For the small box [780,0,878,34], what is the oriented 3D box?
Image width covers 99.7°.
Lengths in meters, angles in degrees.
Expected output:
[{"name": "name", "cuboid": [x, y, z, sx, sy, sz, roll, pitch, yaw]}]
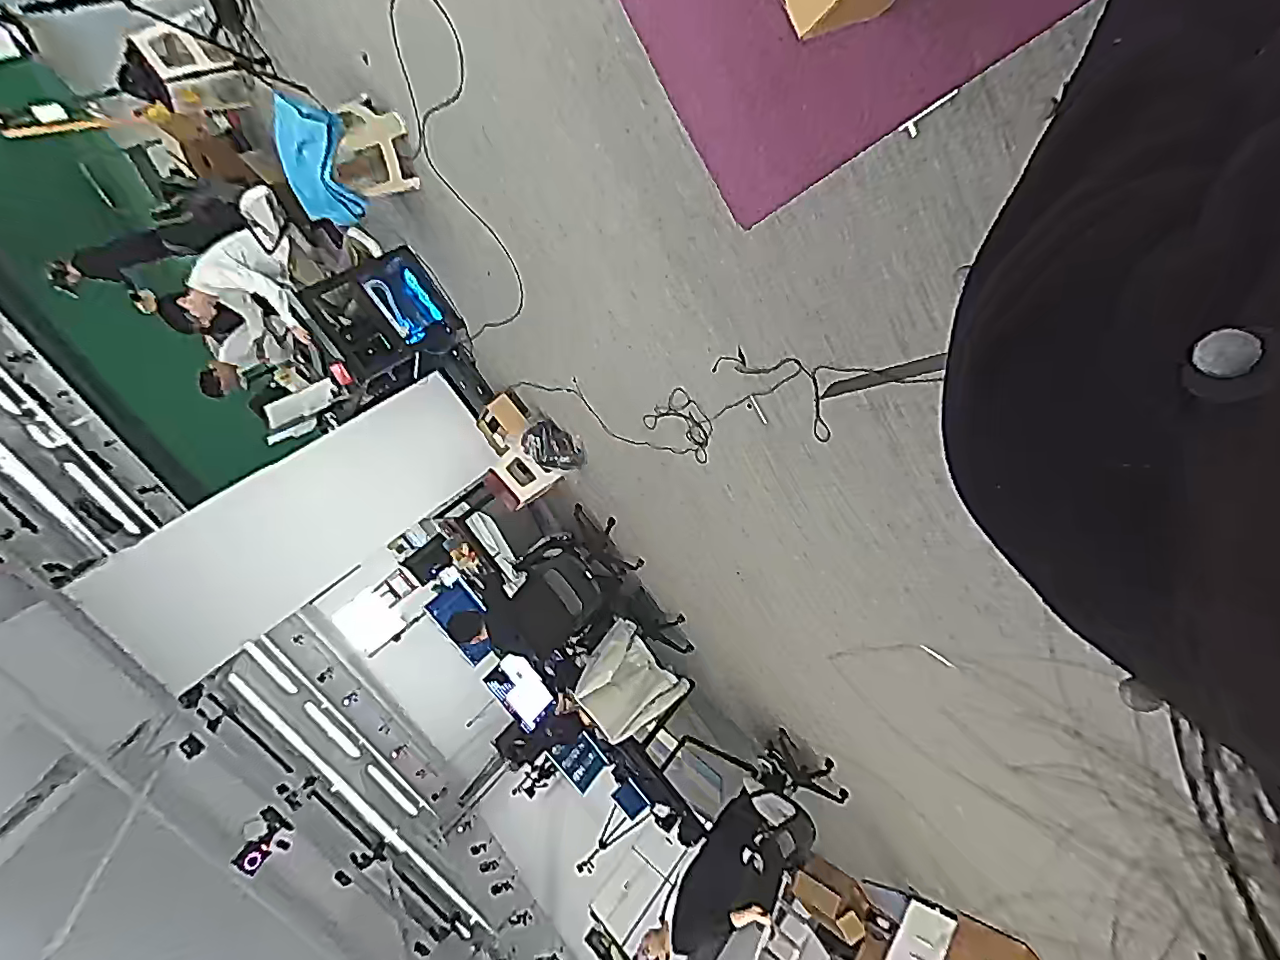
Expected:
[{"name": "small box", "cuboid": [0.205, -0.547, 0.465, 0.168, 0.176, 0.179, 57, 151, -14]}]
